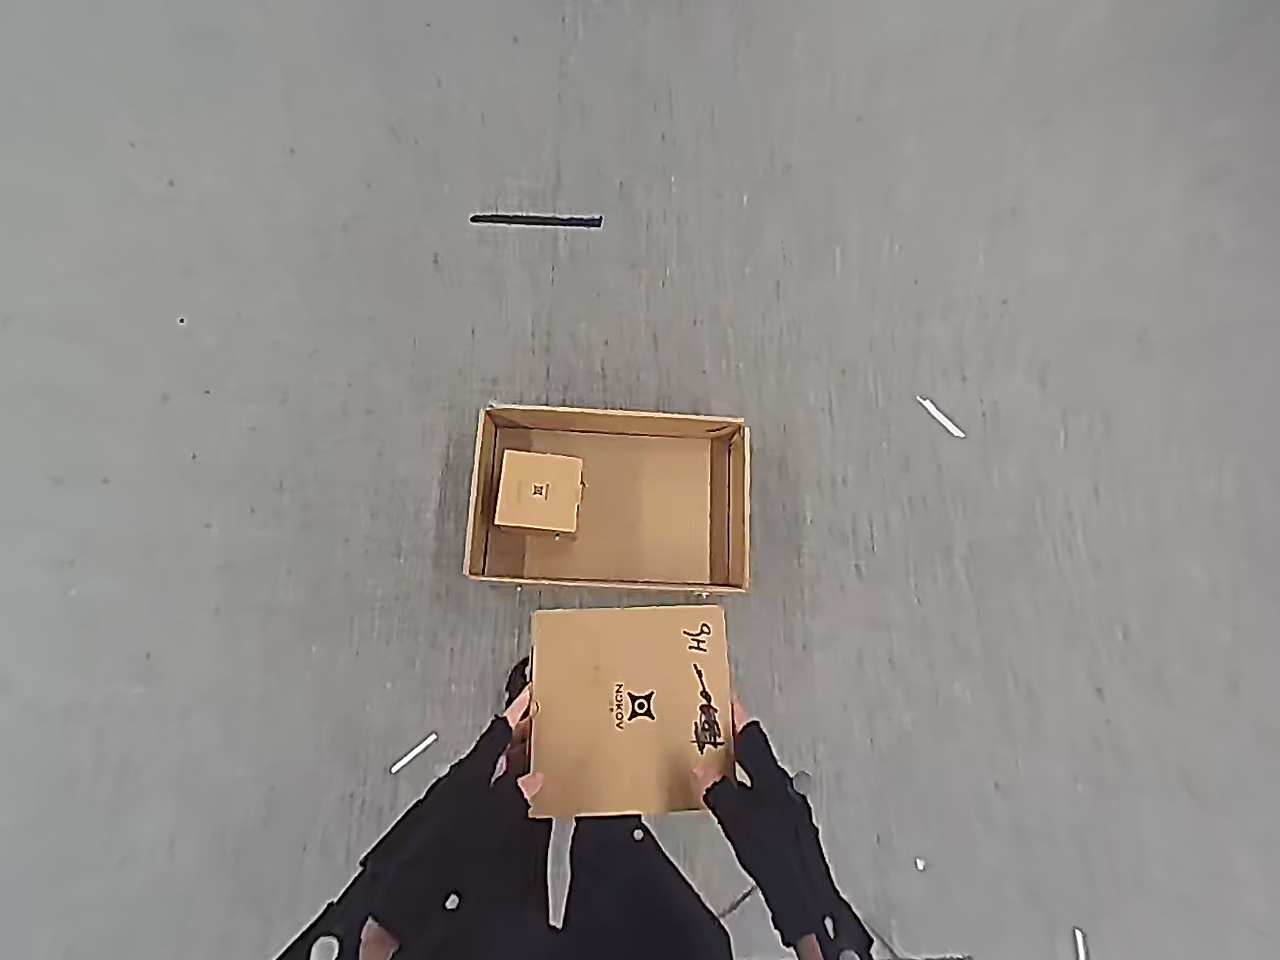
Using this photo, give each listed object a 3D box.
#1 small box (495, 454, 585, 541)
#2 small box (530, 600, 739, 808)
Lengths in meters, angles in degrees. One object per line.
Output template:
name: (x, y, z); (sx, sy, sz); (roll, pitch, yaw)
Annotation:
small box: (-0.221, 0.046, 1.244); (0.179, 0.176, 0.168); (6, 78, -3)
small box: (-0.009, 0.215, 0.545); (0.179, 0.176, 0.168); (-2, 73, -3)
